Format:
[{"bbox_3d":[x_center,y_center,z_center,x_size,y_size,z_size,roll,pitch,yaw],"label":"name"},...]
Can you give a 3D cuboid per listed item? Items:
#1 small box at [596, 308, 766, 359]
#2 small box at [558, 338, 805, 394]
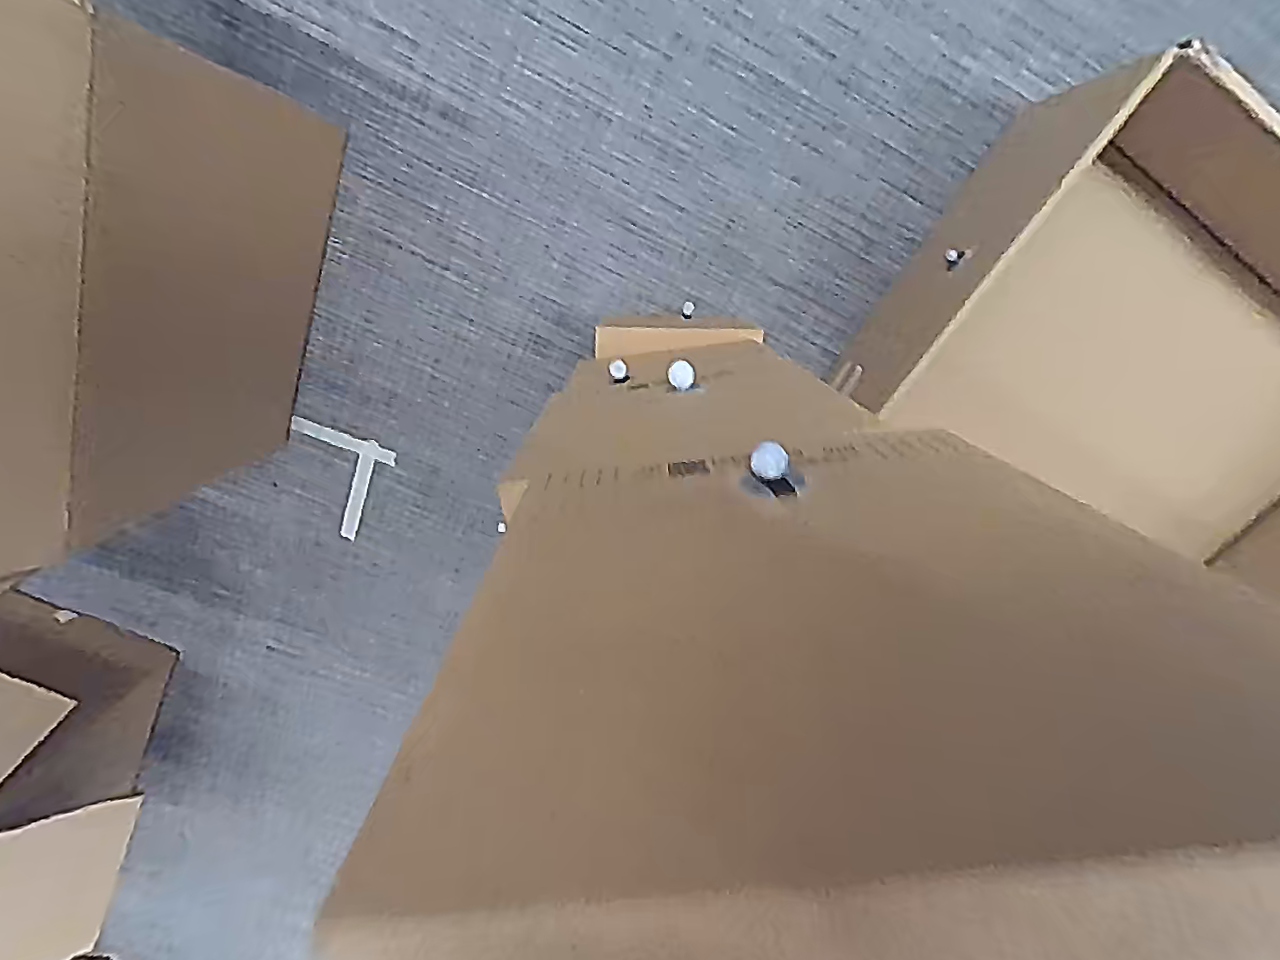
[{"bbox_3d":[0.038,-0.098,0.618,0.168,0.176,0.179,1,111,-1],"label":"small box"},{"bbox_3d":[0.035,-0.022,0.473,0.179,0.176,0.168,-8,113,1],"label":"small box"}]
